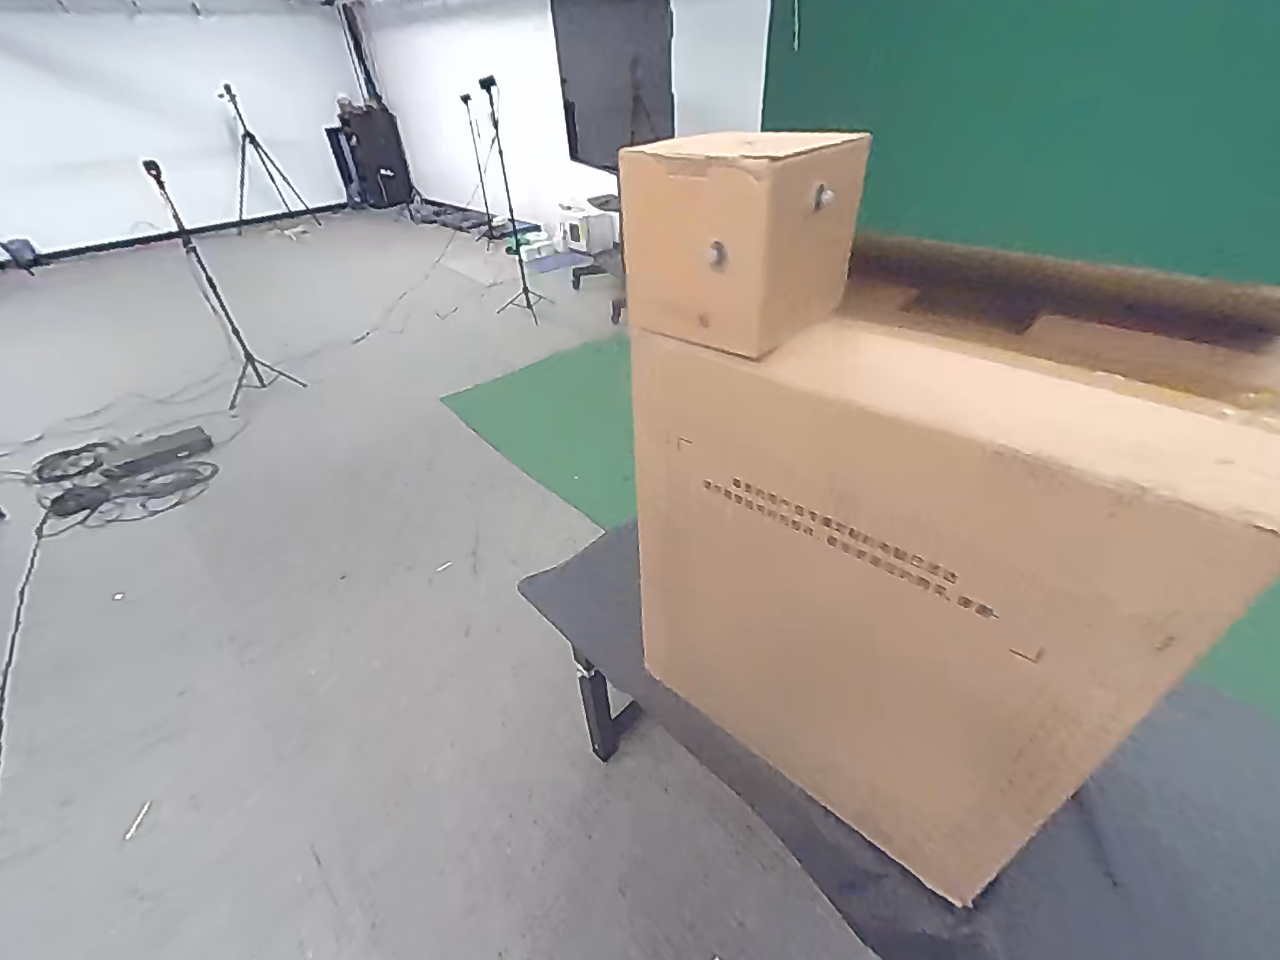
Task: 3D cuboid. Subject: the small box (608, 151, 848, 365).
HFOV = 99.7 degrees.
[{"bbox_3d":[0.090,-0.236,0.563,0.168,0.176,0.179,27,45,35],"label":"small box"}]
